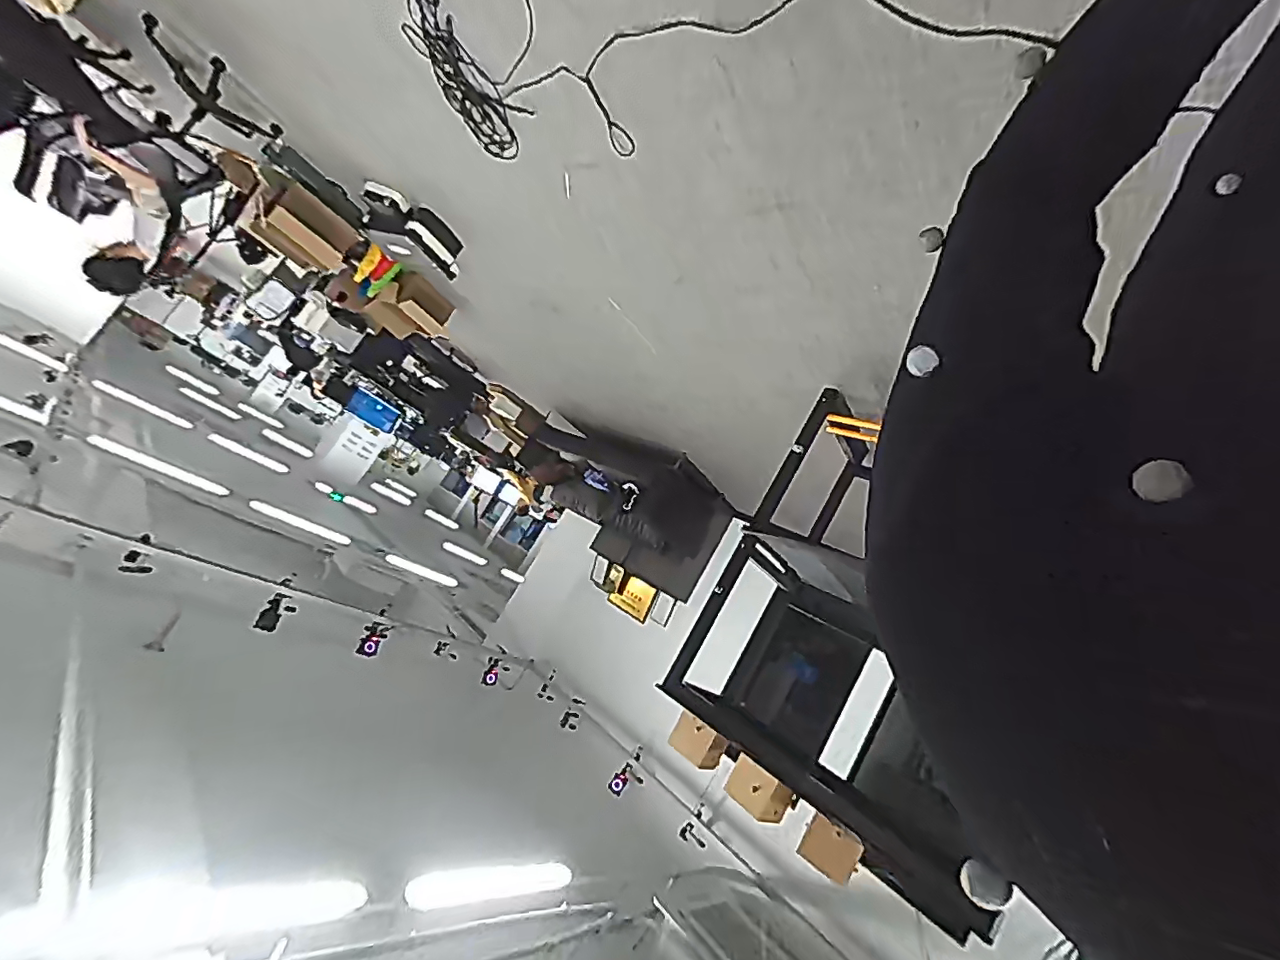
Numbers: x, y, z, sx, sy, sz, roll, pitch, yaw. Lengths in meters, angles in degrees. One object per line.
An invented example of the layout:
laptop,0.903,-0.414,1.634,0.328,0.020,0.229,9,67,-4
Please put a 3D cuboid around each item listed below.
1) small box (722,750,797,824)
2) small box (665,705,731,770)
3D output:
small box,0.431,1.093,1.936,0.168,0.176,0.179,21,167,48
small box,0.235,1.017,2.141,0.168,0.176,0.179,23,167,38
